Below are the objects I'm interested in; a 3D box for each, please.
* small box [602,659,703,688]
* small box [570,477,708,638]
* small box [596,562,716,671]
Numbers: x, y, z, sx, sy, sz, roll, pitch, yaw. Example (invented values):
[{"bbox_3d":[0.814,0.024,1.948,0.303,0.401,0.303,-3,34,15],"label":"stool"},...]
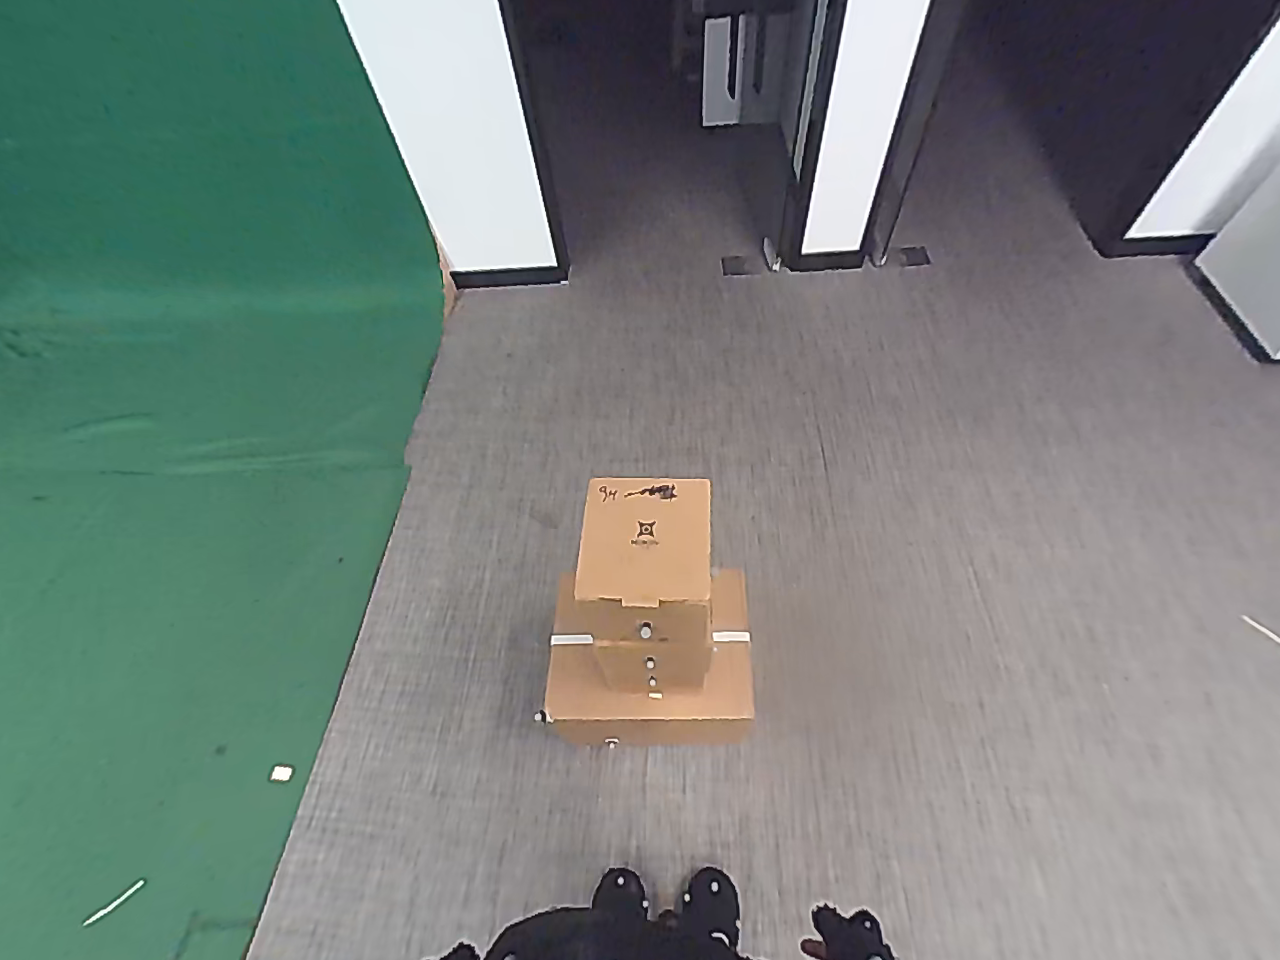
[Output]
[{"bbox_3d":[0.030,0.293,1.026,0.179,0.176,0.168,0,58,4],"label":"small box"},{"bbox_3d":[0.010,0.112,0.753,0.168,0.176,0.179,1,58,7],"label":"small box"},{"bbox_3d":[0.024,0.209,0.885,0.179,0.176,0.168,-4,58,2],"label":"small box"}]
